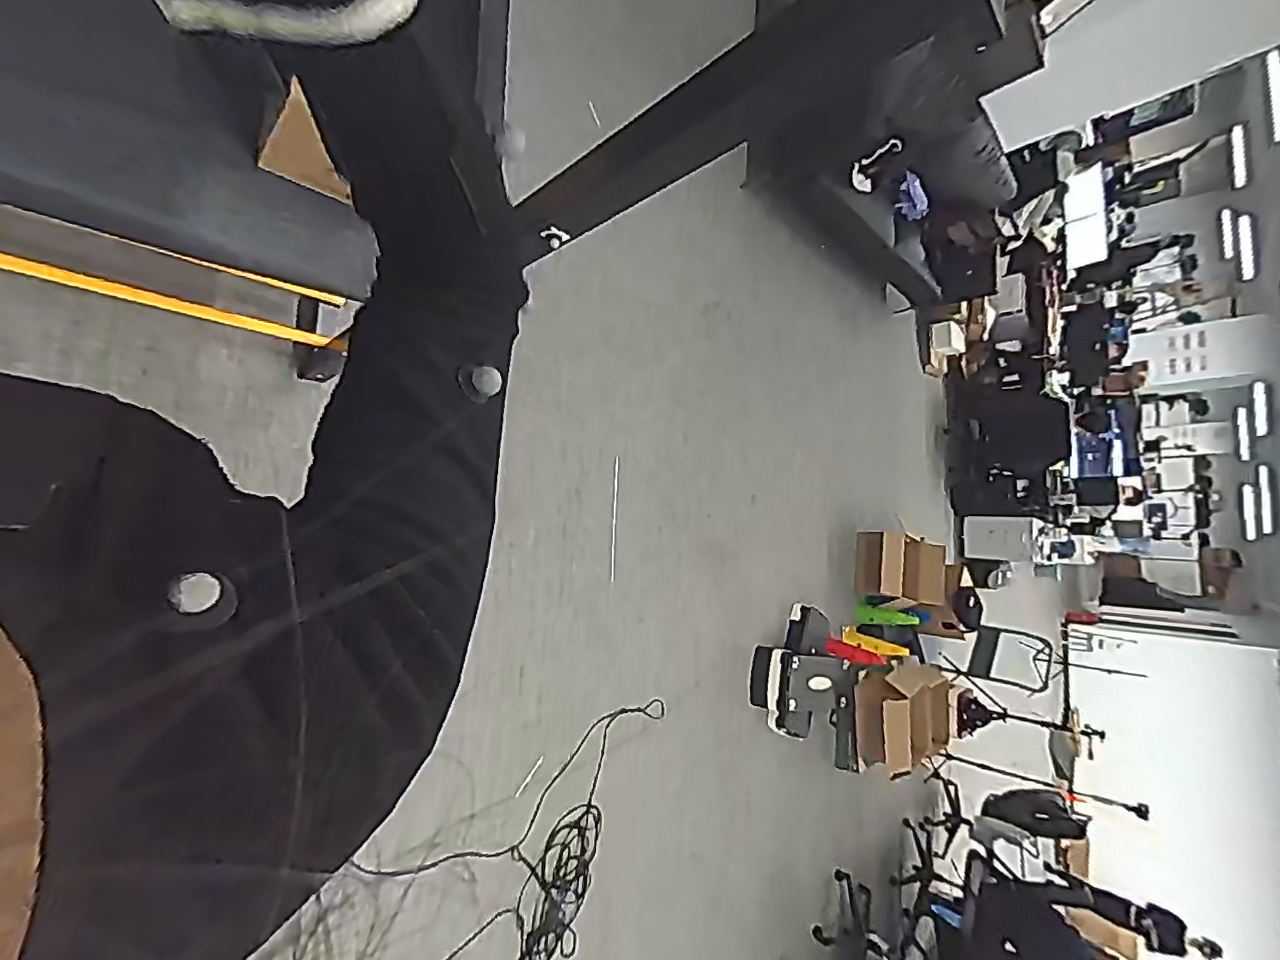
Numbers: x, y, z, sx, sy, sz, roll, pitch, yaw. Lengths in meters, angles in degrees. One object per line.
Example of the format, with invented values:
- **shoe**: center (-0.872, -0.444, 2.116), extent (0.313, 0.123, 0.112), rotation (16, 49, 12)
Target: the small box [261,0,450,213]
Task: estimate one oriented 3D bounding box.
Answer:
- **small box**: center (-0.364, -0.479, 0.690), extent (0.168, 0.176, 0.179), rotation (8, 81, -45)
